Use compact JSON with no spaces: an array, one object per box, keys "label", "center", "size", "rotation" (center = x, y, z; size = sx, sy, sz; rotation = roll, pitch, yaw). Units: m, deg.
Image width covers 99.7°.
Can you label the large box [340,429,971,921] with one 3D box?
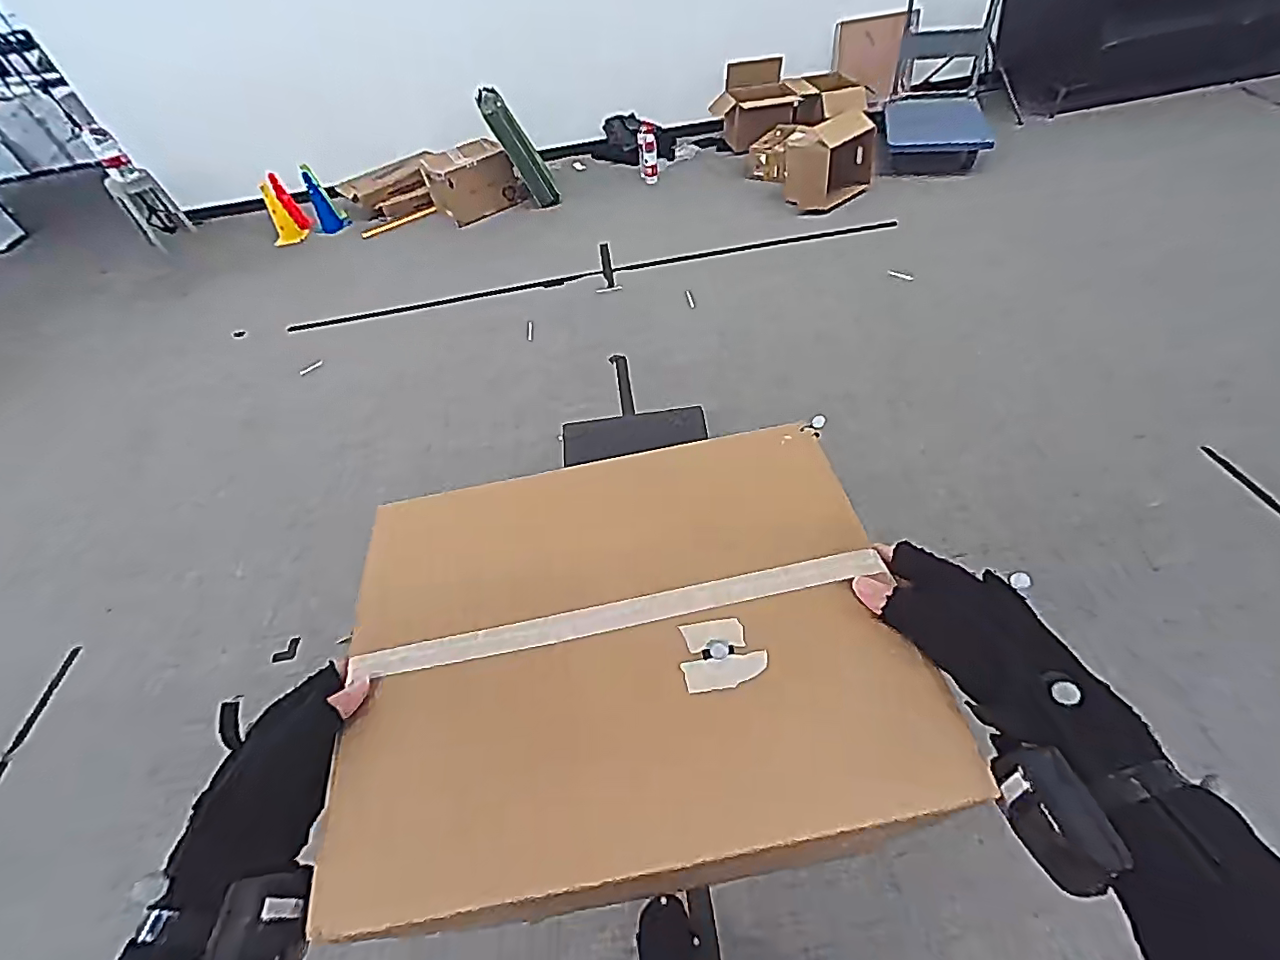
[{"label":"large box","center":[0.002,0.197,0.535],"size":[0.408,0.320,0.320],"rotation":[-11,52,-1]}]
